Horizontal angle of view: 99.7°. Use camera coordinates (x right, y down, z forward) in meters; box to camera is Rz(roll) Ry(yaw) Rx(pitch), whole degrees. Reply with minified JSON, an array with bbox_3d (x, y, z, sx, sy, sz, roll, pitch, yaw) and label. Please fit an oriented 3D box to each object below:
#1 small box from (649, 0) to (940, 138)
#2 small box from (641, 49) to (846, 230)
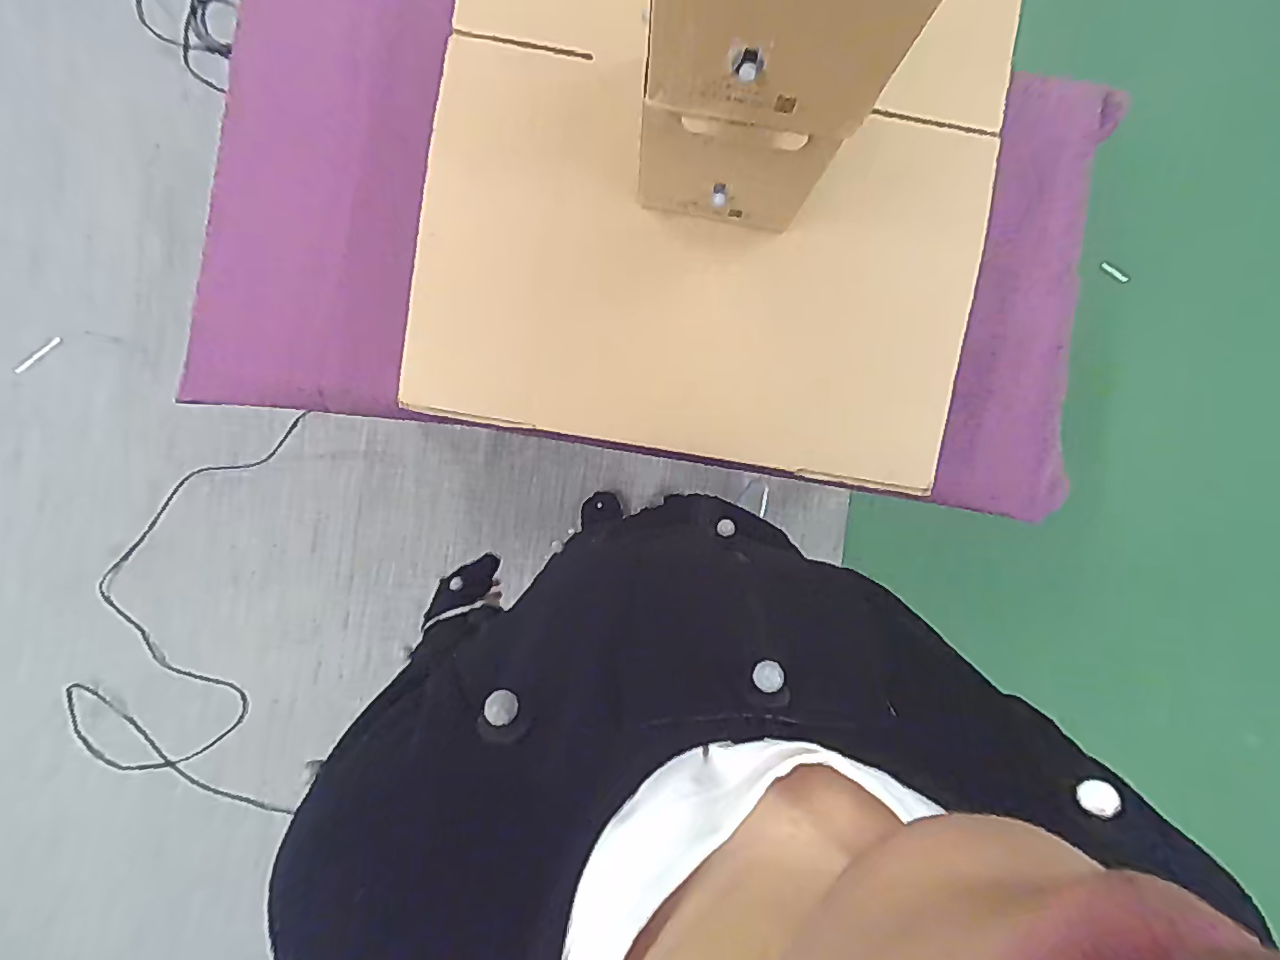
[{"bbox_3d":[0.099,-0.364,0.341,0.168,0.176,0.179,8,89,-2],"label":"small box"},{"bbox_3d":[0.095,-0.369,0.504,0.168,0.176,0.179,10,89,-1],"label":"small box"}]
